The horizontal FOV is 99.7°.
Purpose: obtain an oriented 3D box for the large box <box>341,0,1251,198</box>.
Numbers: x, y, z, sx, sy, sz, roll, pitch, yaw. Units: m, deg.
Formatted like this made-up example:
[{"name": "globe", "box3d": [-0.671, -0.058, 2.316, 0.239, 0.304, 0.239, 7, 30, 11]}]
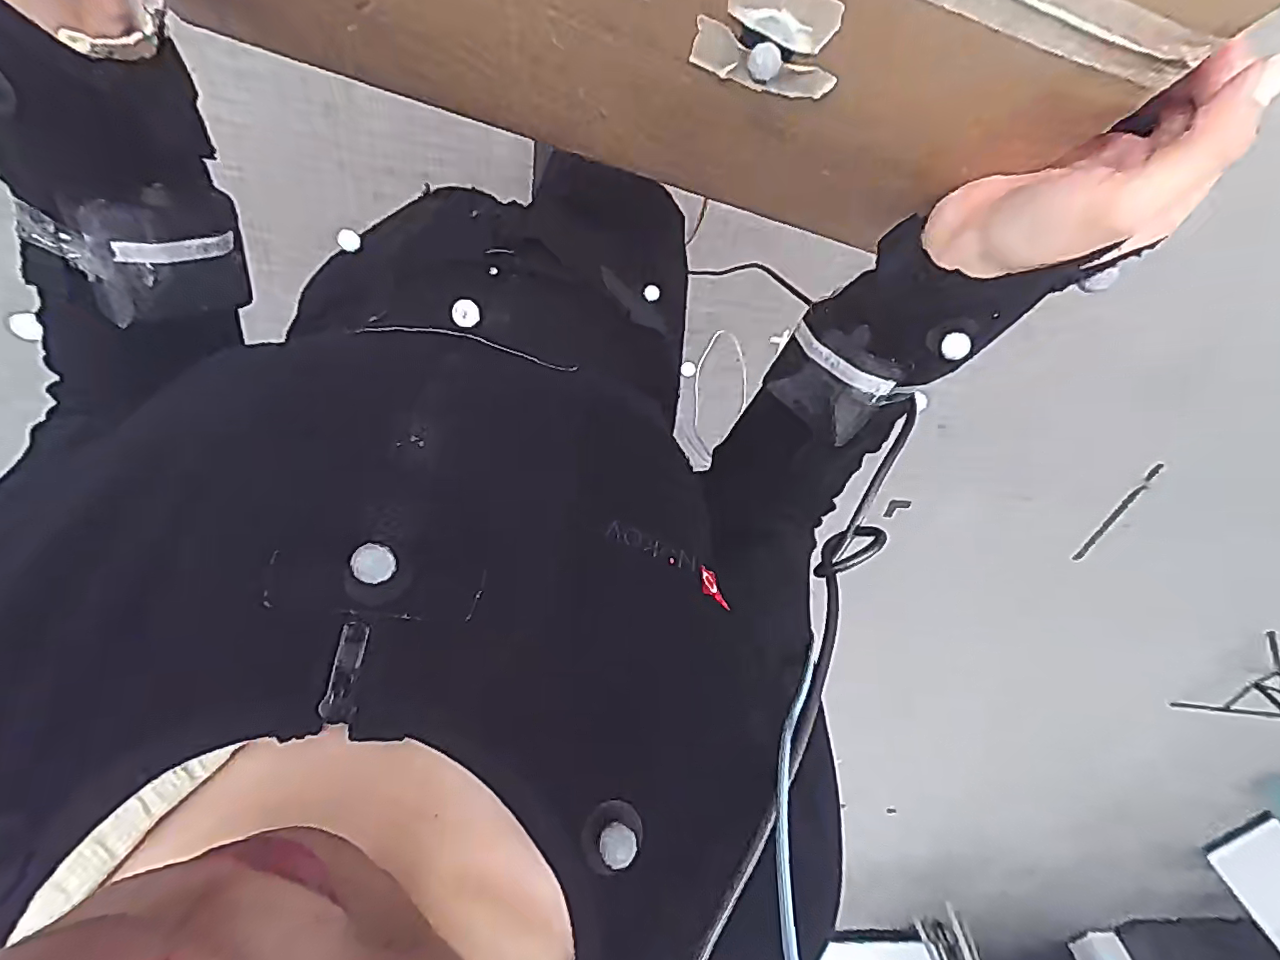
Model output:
[{"name": "large box", "box3d": [0.041, -0.348, 0.132, 0.408, 0.320, 0.320, 12, 87, -9]}]
